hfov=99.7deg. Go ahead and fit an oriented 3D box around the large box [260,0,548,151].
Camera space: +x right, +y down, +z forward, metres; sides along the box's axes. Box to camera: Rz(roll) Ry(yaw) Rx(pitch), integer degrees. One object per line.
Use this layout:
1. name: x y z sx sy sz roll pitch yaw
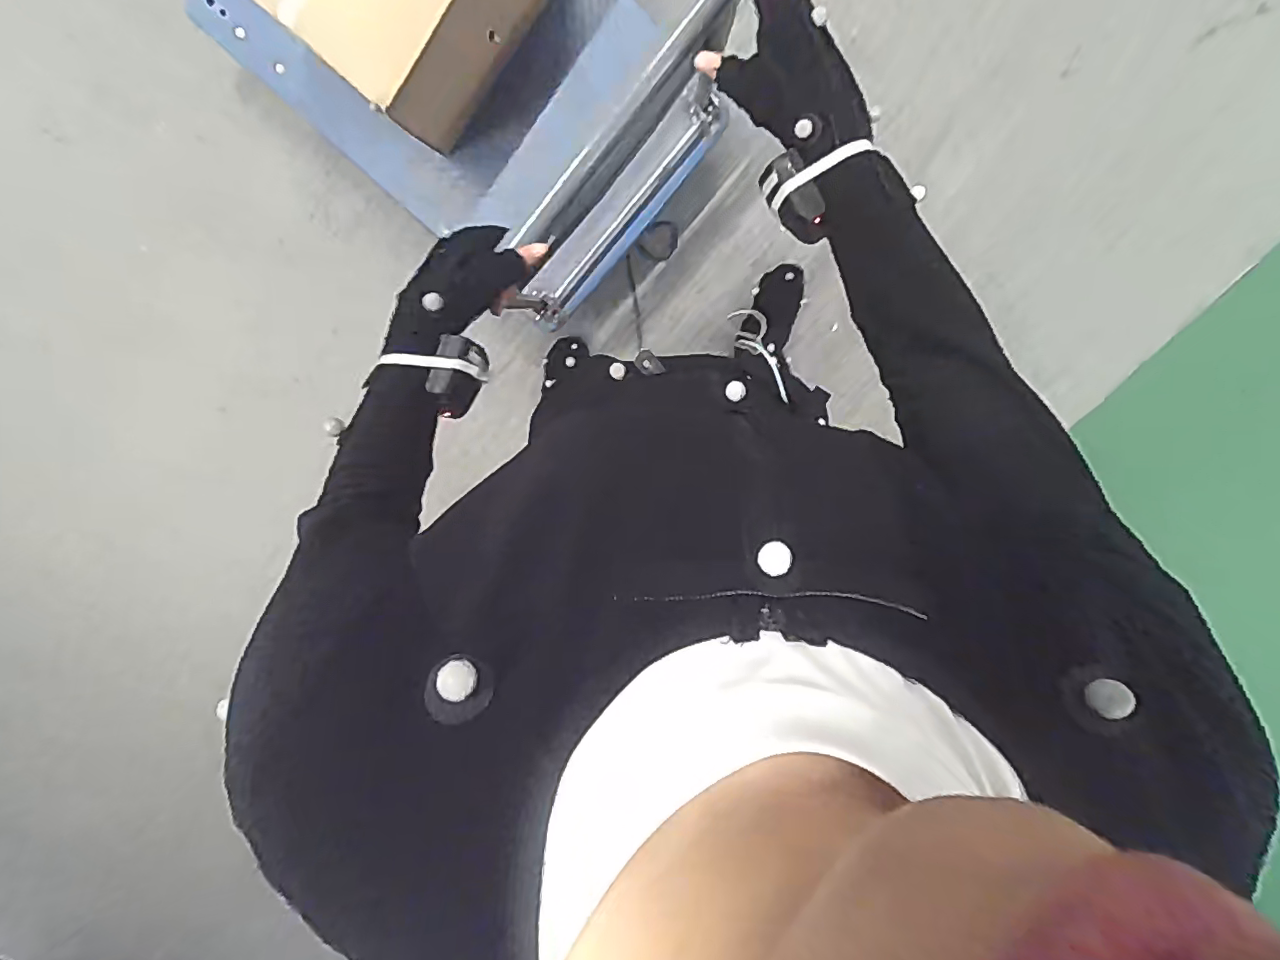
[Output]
1. large box: -0.353 -0.825 0.846 0.320 0.320 0.408 37 106 -14
